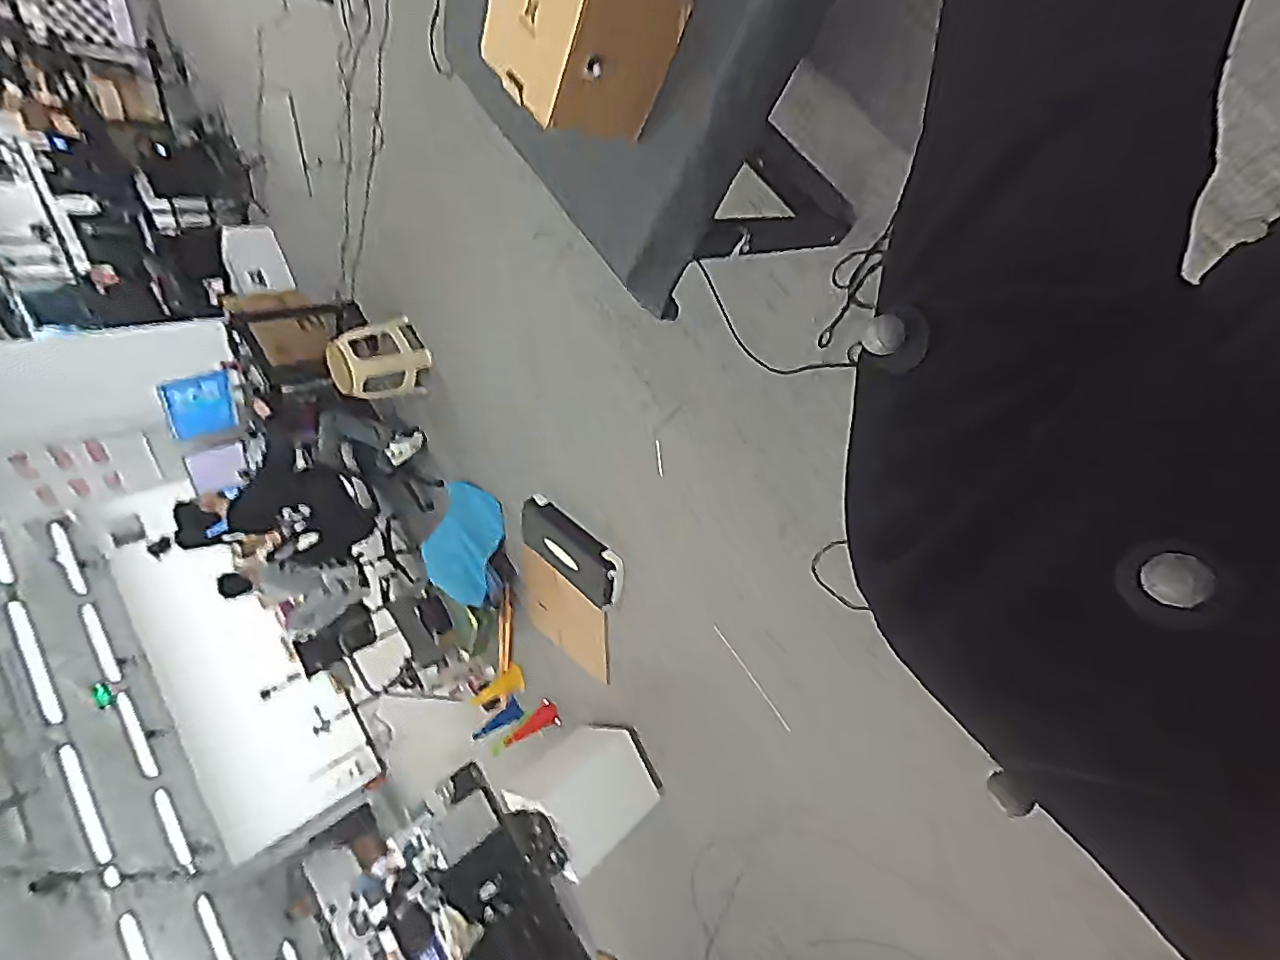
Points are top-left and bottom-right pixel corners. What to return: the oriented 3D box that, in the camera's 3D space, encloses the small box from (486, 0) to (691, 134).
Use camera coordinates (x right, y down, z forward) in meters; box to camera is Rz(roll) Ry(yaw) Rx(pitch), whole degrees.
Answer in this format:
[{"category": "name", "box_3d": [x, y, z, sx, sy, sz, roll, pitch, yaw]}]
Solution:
[{"category": "small box", "box_3d": [-0.066, -0.573, 0.685, 0.168, 0.176, 0.179, 53, 138, 14]}]
